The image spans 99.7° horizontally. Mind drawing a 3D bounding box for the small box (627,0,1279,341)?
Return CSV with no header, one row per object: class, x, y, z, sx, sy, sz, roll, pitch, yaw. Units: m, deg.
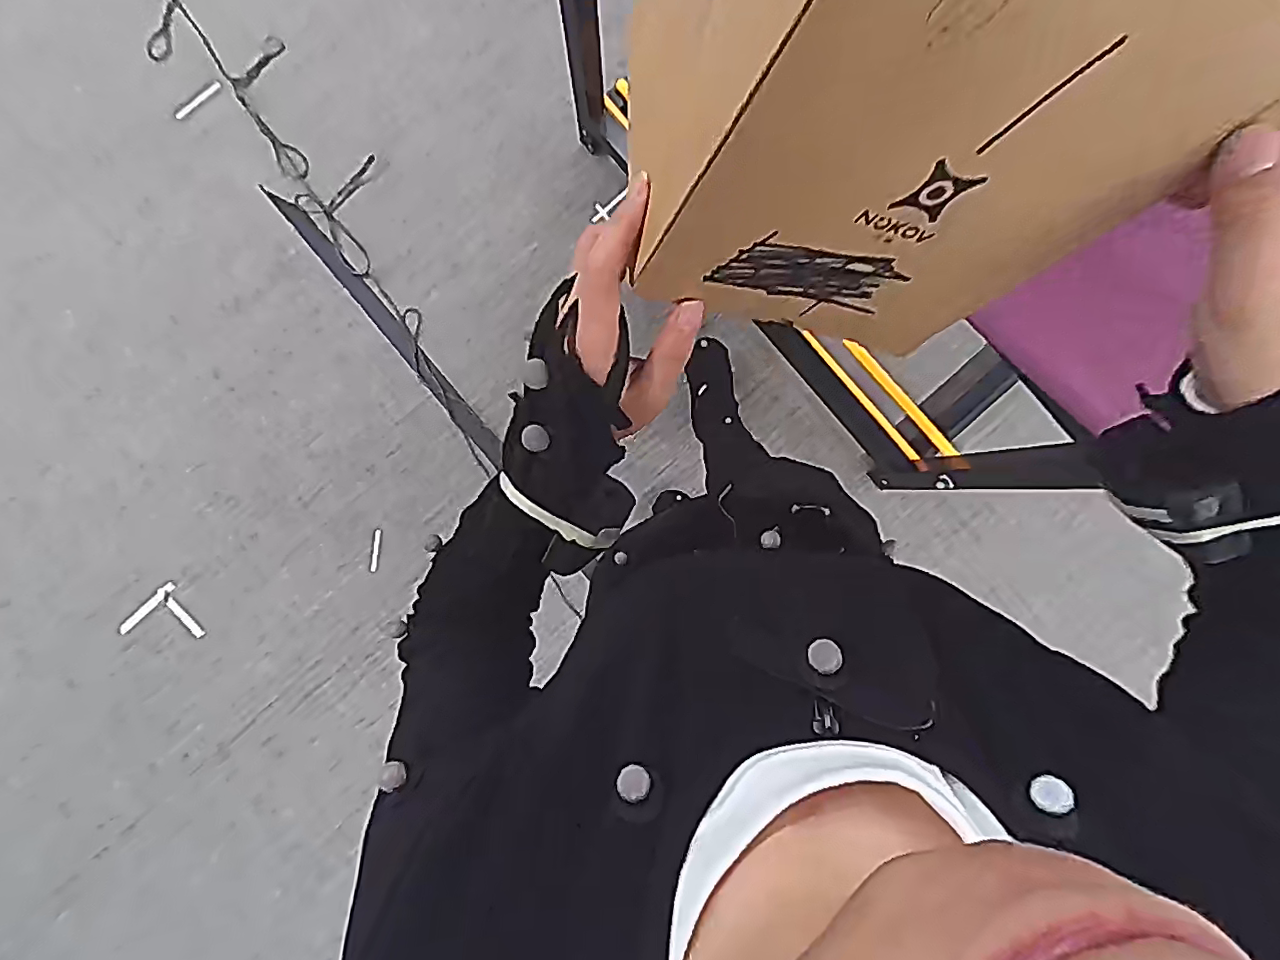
small box,0.101,-0.185,0.219,0.168,0.179,0.176,5,73,-21
